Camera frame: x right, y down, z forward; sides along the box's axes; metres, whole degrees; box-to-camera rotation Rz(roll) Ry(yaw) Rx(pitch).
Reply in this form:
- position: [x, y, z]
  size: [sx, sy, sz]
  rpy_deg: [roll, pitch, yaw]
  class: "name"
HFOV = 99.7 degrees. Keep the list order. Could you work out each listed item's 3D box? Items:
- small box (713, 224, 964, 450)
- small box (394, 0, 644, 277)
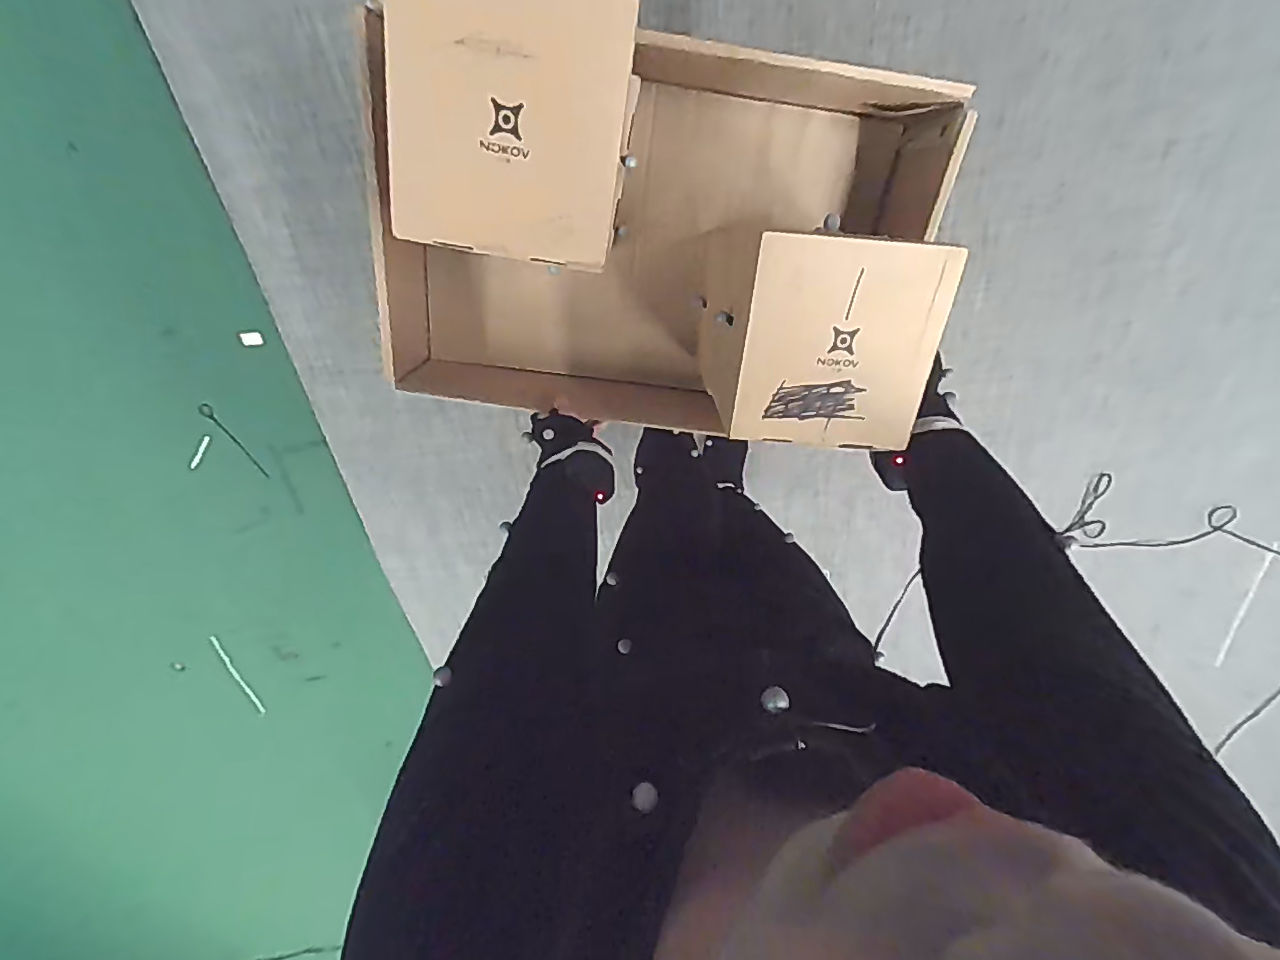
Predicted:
- position: [0.169, -0.147, 0.531]
  size: [0.168, 0.176, 0.179]
  rpy_deg: [4, 116, -2]
  class: "small box"
- position: [-0.094, -0.286, 0.459]
  size: [0.168, 0.176, 0.179]
  rpy_deg: [7, 116, -8]
  class: "small box"
